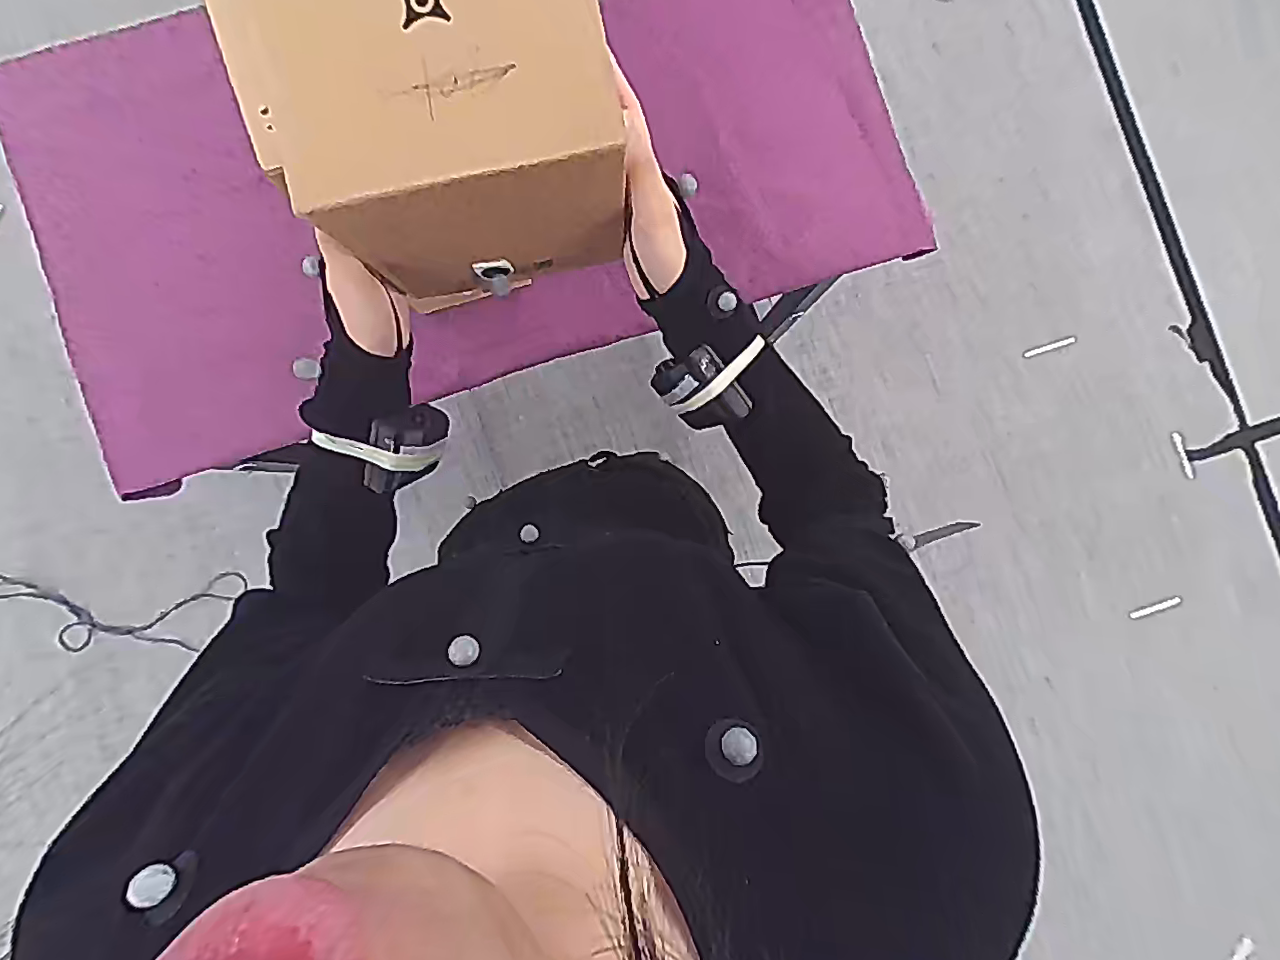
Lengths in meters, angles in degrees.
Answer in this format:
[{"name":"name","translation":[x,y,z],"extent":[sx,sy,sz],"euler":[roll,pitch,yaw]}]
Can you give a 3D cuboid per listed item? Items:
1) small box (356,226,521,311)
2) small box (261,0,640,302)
[{"name":"small box","translation":[-0.255,-0.344,0.693],"extent":[0.168,0.176,0.179],"euler":[-16,89,-1]},{"name":"small box","translation":[-0.101,-0.233,0.340],"extent":[0.168,0.176,0.179],"euler":[-13,95,-1]}]
